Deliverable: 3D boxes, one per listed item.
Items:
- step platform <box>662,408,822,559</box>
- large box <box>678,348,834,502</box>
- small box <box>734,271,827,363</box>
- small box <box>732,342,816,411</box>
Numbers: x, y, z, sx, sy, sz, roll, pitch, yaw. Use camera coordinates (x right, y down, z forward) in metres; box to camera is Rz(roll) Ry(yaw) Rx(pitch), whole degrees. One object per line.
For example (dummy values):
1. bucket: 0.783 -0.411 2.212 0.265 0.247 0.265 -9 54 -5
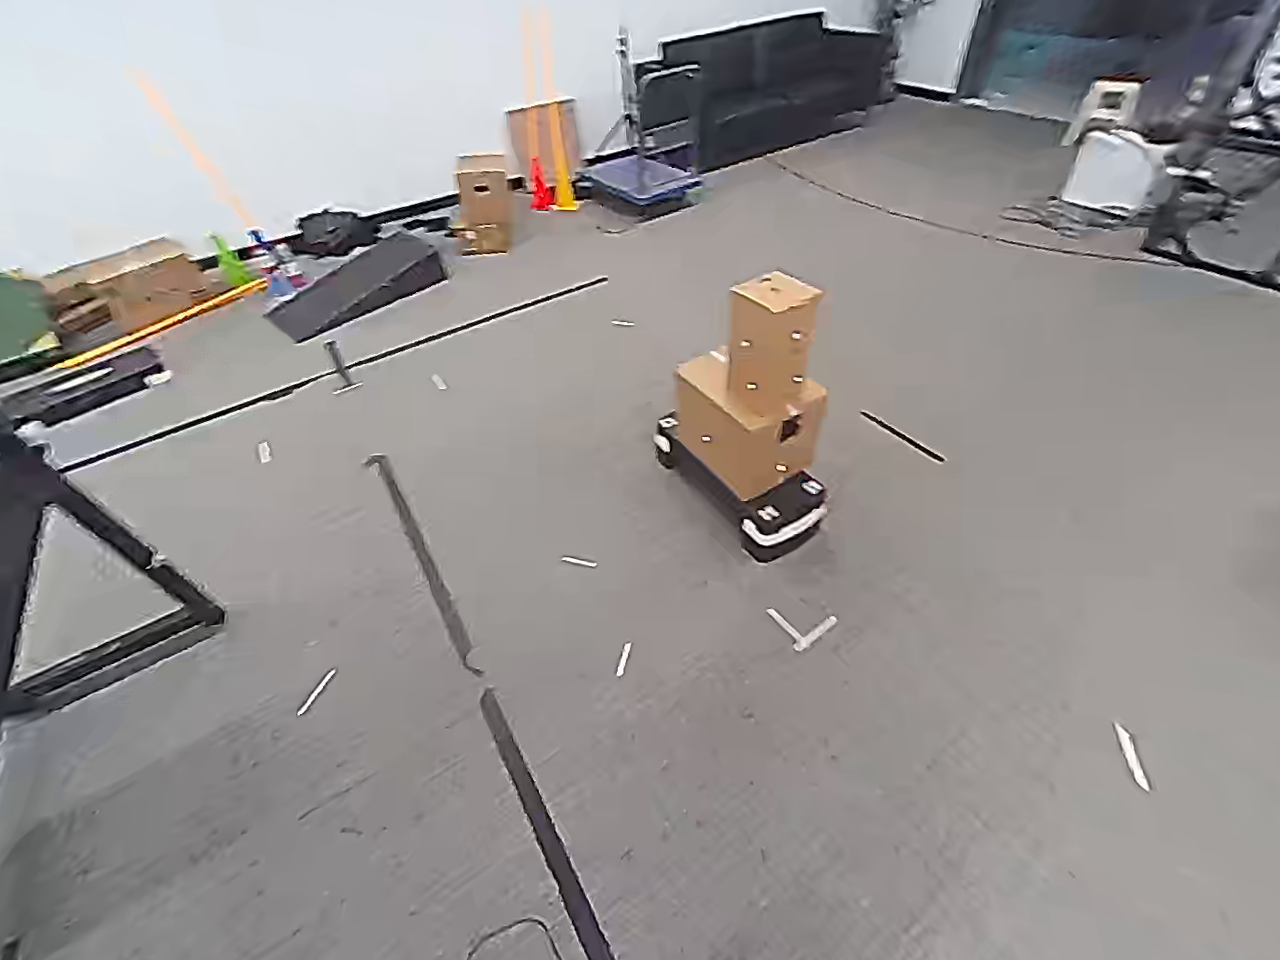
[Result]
1. step platform: 0.351 -0.040 1.996 0.286 0.204 0.684 -22 47 -16
2. large box: 0.372 -0.201 1.818 0.320 0.320 0.408 -26 48 -20
3. small box: 0.376 -0.439 1.477 0.168 0.176 0.179 -27 50 -20
4. small box: 0.388 -0.322 1.591 0.168 0.176 0.179 -26 48 -19
